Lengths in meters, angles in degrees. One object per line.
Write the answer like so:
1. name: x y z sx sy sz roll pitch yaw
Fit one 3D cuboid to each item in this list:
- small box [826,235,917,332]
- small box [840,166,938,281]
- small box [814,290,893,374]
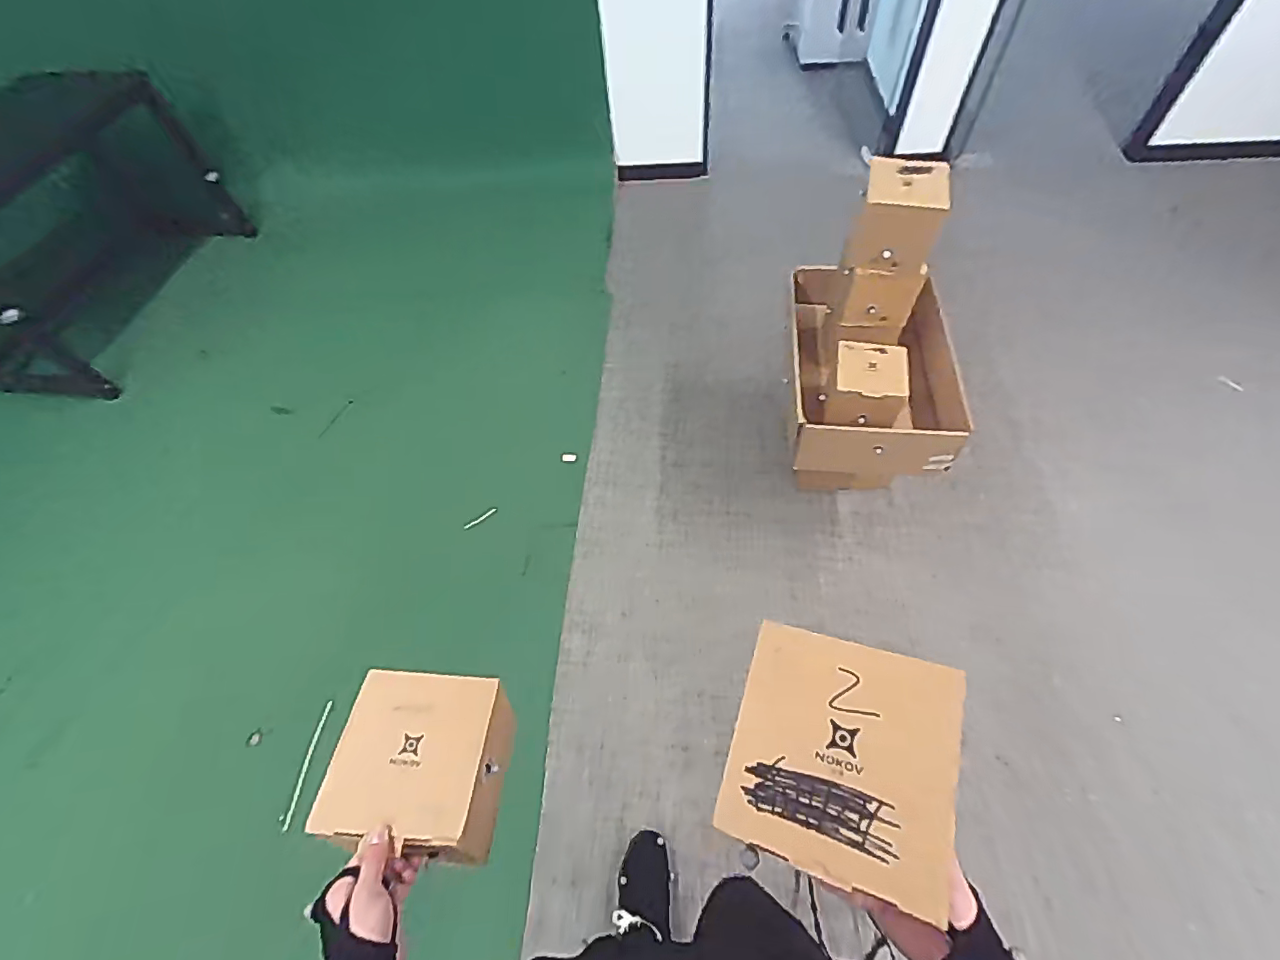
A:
1. small box: 0.590 -0.509 1.402 0.168 0.176 0.179 3 59 5
2. small box: 0.577 -0.599 1.265 0.168 0.176 0.179 11 61 10
3. small box: 0.600 -0.426 1.541 0.168 0.176 0.179 3 59 6
